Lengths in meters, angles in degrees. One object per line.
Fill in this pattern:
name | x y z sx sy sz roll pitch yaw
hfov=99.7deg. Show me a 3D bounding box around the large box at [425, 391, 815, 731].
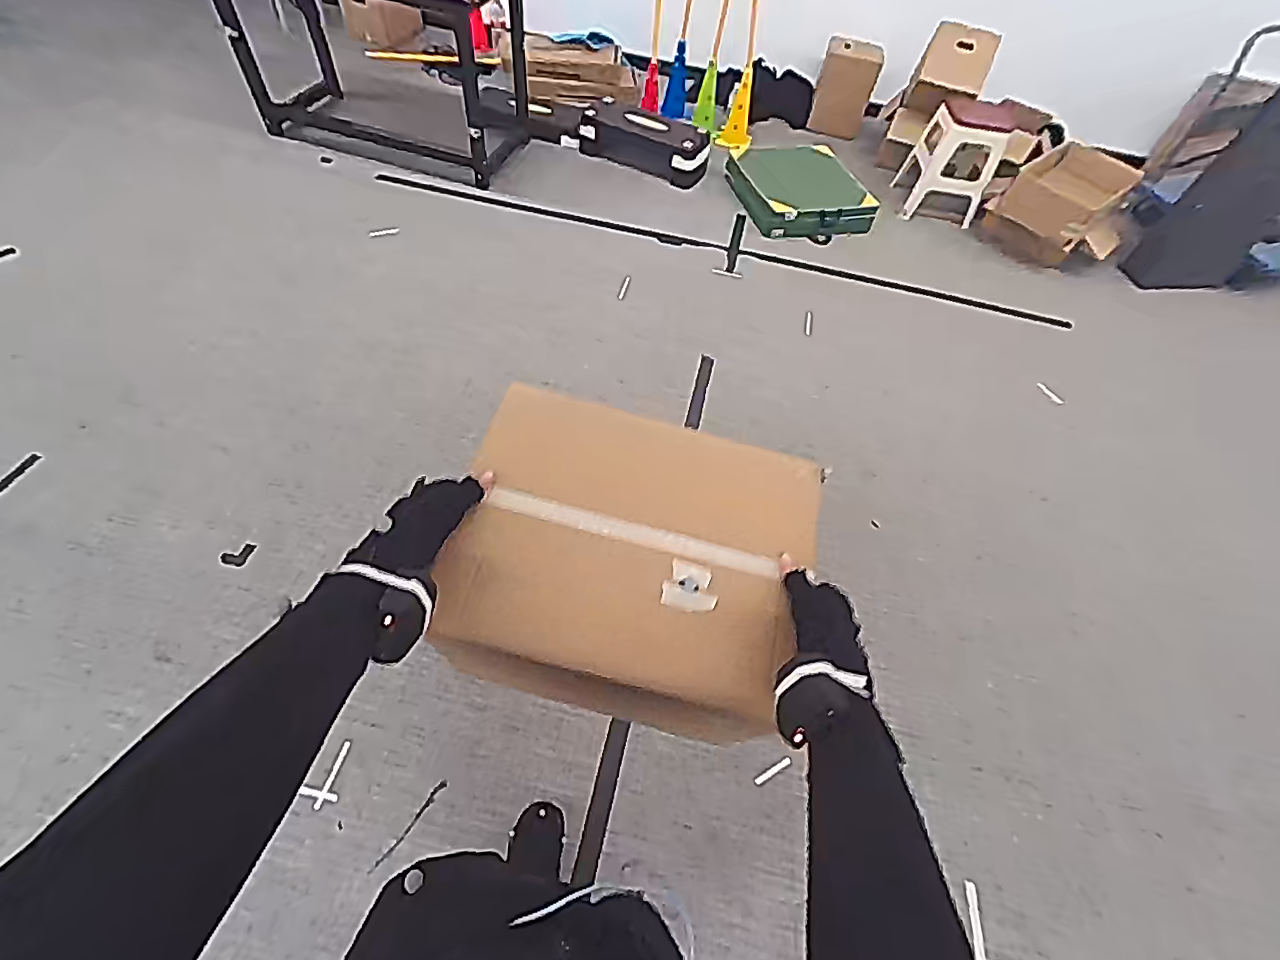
large box | -0.020 0.131 0.751 0.408 0.320 0.320 15 62 -1
